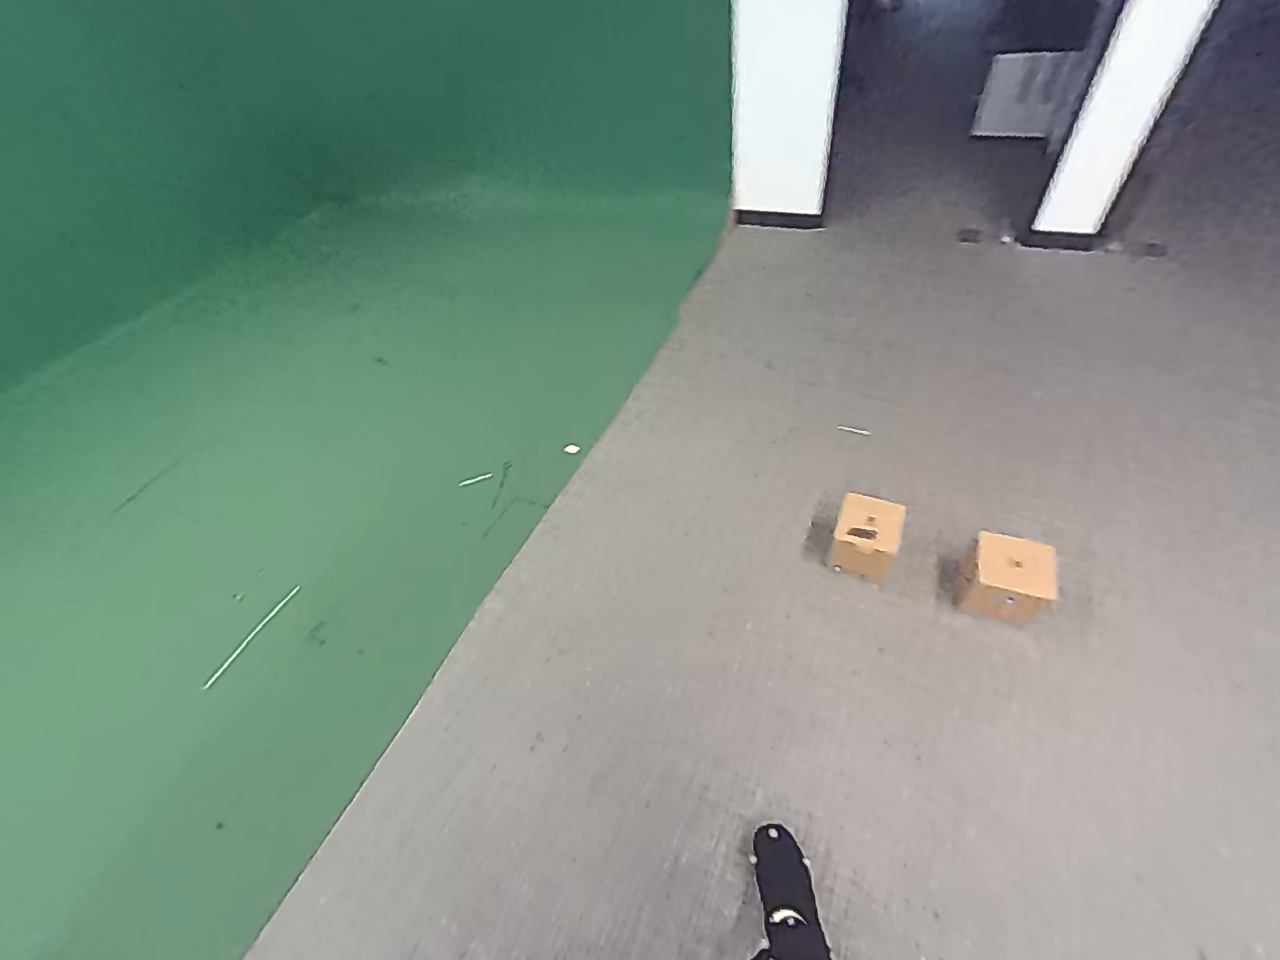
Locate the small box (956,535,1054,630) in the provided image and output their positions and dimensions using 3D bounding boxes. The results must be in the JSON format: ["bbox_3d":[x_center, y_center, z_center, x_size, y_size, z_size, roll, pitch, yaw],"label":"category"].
[{"bbox_3d":[0.961,0.276,1.439,0.179,0.176,0.168,13,54,19],"label":"small box"}]

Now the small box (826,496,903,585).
[{"bbox_3d":[0.648,0.179,1.572,0.168,0.176,0.179,15,54,21],"label":"small box"}]
